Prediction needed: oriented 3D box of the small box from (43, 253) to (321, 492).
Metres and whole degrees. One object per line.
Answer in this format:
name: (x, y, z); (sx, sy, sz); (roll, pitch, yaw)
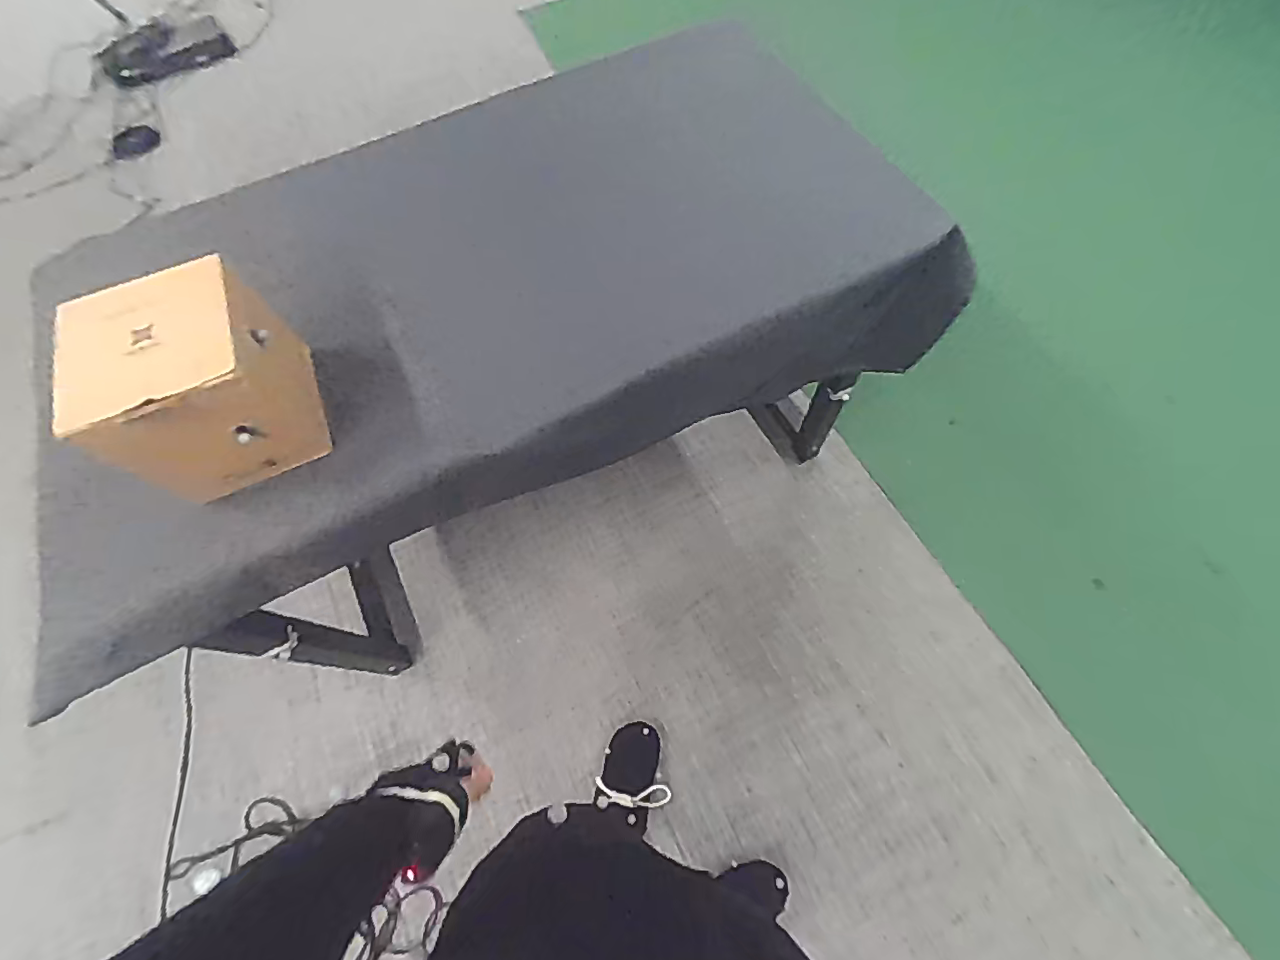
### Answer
small box: (-0.485, -0.105, 0.597); (0.168, 0.176, 0.179); (-23, 65, -9)
